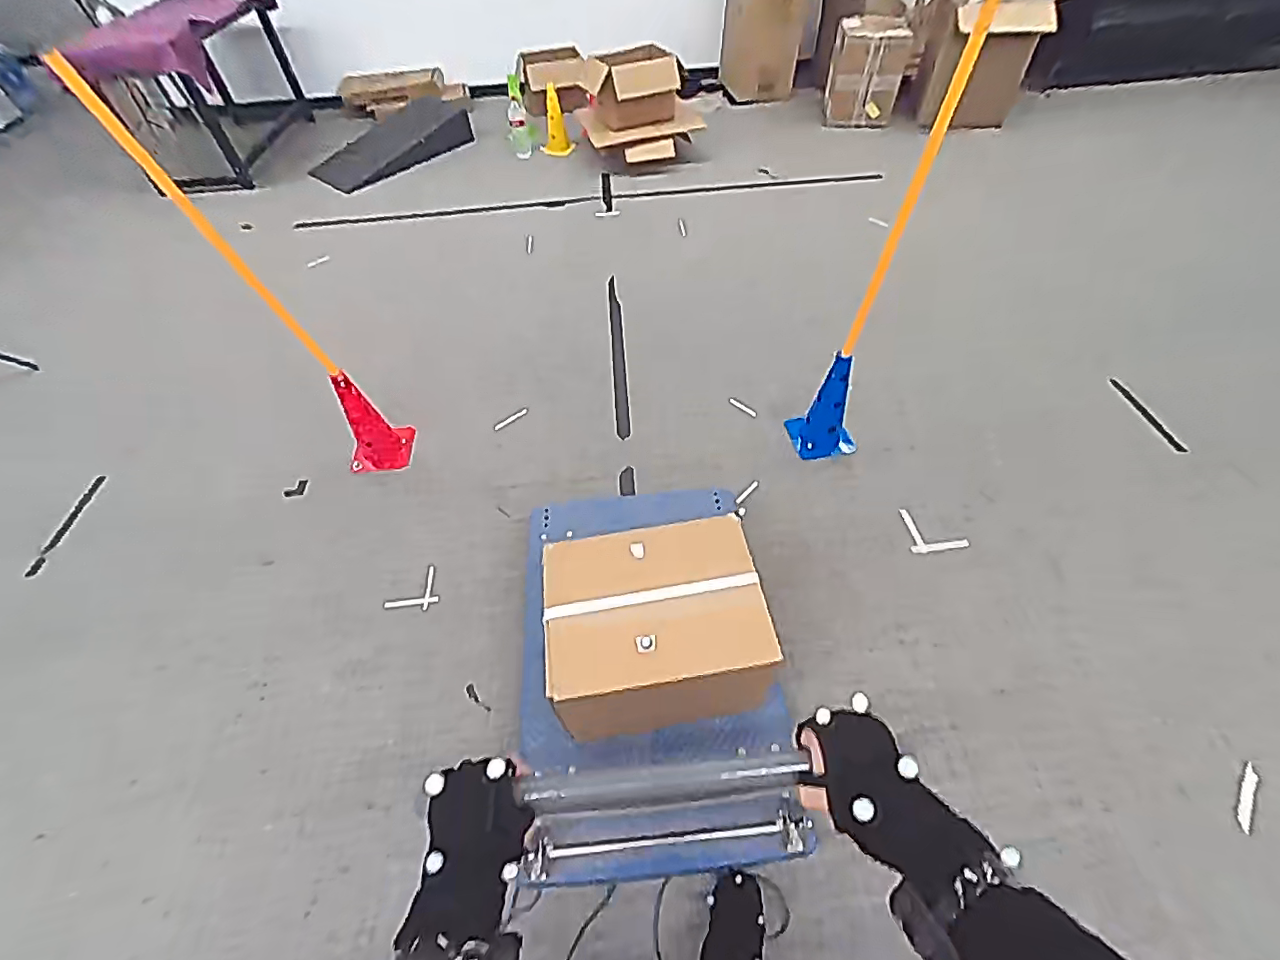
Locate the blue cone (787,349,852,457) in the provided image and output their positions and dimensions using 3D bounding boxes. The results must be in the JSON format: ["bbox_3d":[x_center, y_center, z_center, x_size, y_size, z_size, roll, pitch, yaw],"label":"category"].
[{"bbox_3d":[0.624,-0.259,1.765,0.193,0.380,0.192,-8,51,-4],"label":"blue cone"}]
